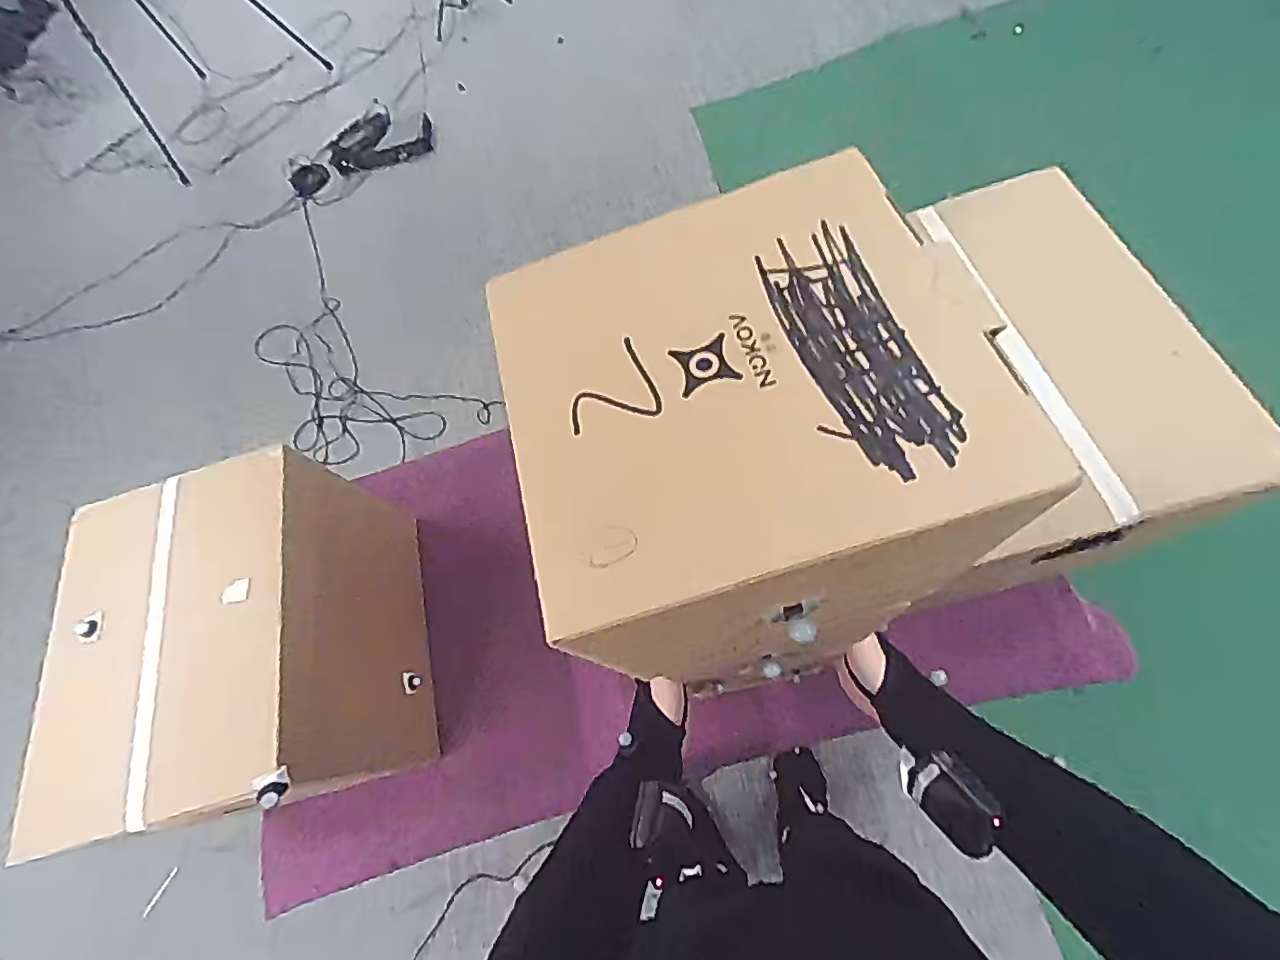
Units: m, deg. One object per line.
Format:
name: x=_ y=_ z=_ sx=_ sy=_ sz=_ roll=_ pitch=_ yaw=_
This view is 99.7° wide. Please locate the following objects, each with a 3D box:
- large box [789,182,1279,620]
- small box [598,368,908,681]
large box: x=0.408 y=-0.074 z=0.688 sx=0.320 sy=0.320 sz=0.408 roll=-17 pitch=66 yaw=6
small box: x=0.075 y=0.047 z=0.423 sx=0.168 sy=0.176 sz=0.179 roll=-14 pitch=64 yaw=6
